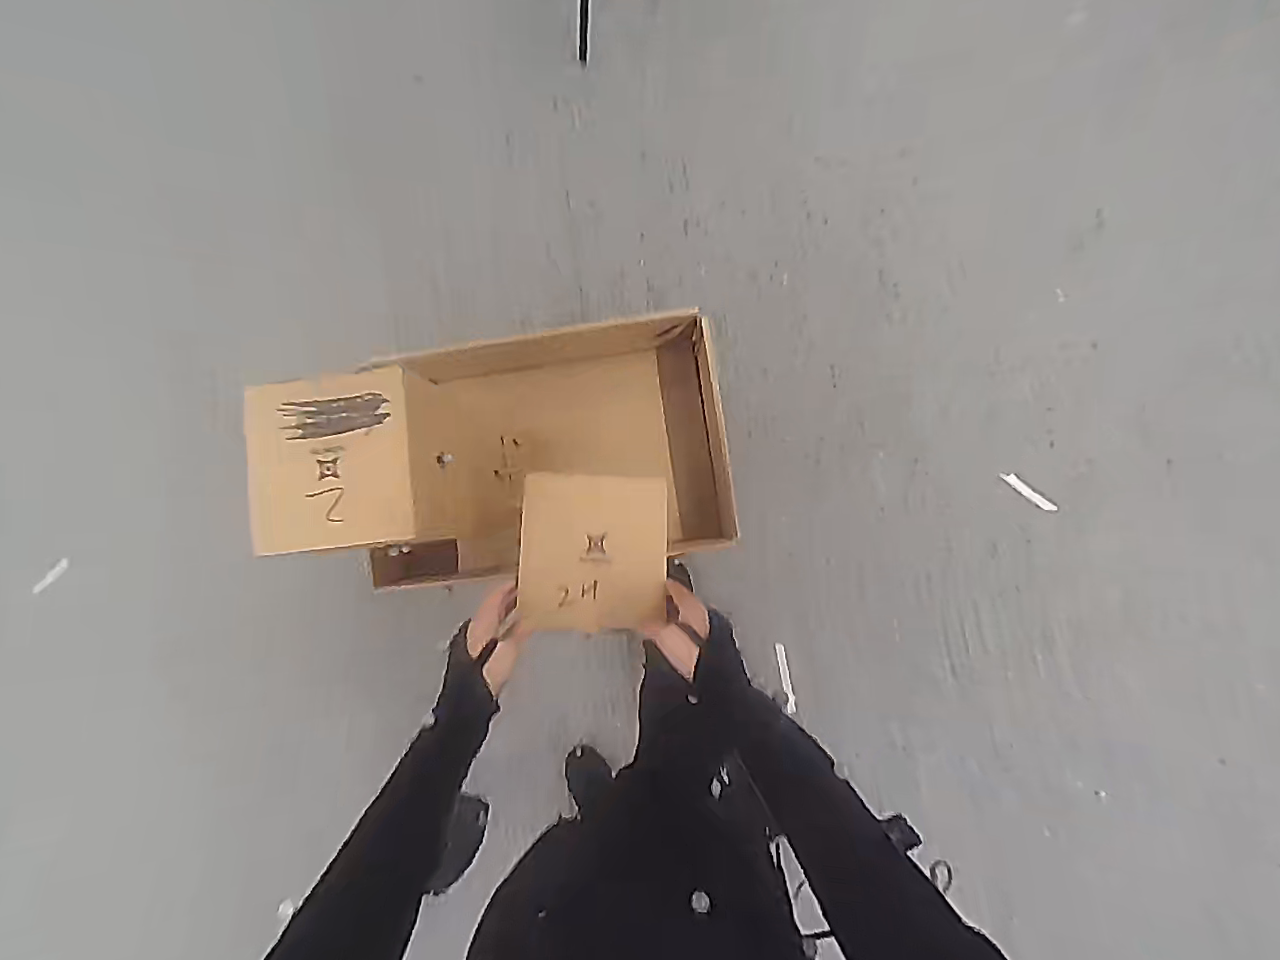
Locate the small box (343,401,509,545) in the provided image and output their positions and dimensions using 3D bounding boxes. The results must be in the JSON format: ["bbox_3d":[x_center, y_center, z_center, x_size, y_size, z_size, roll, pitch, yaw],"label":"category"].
[{"bbox_3d":[-0.297,-0.001,0.777,0.168,0.176,0.179,-7,84,2],"label":"small box"}]

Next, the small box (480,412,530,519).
[{"bbox_3d":[-0.290,-0.008,0.941,0.179,0.176,0.168,-13,84,2],"label":"small box"}]

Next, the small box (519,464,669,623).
[{"bbox_3d":[-0.060,0.086,0.686,0.168,0.176,0.179,3,80,-7],"label":"small box"}]
